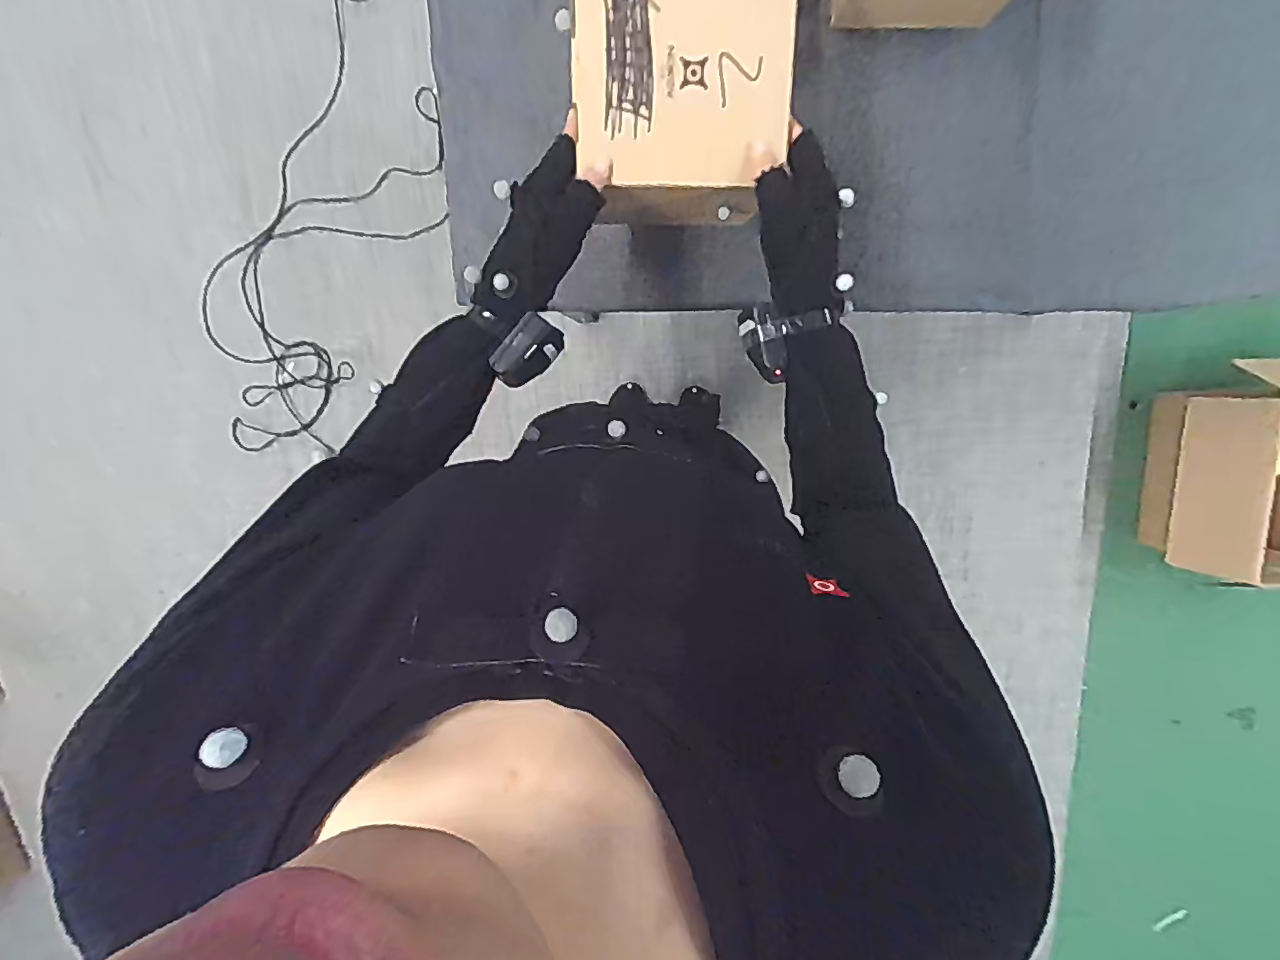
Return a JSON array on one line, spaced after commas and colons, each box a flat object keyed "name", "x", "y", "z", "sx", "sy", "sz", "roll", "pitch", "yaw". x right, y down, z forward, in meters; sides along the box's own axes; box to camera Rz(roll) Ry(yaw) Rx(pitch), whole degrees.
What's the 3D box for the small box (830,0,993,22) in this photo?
[{"name": "small box", "x": 0.302, "y": -0.583, "z": 0.519, "sx": 0.179, "sy": 0.176, "sz": 0.168, "roll": 1, "pitch": 101, "yaw": 2}]
